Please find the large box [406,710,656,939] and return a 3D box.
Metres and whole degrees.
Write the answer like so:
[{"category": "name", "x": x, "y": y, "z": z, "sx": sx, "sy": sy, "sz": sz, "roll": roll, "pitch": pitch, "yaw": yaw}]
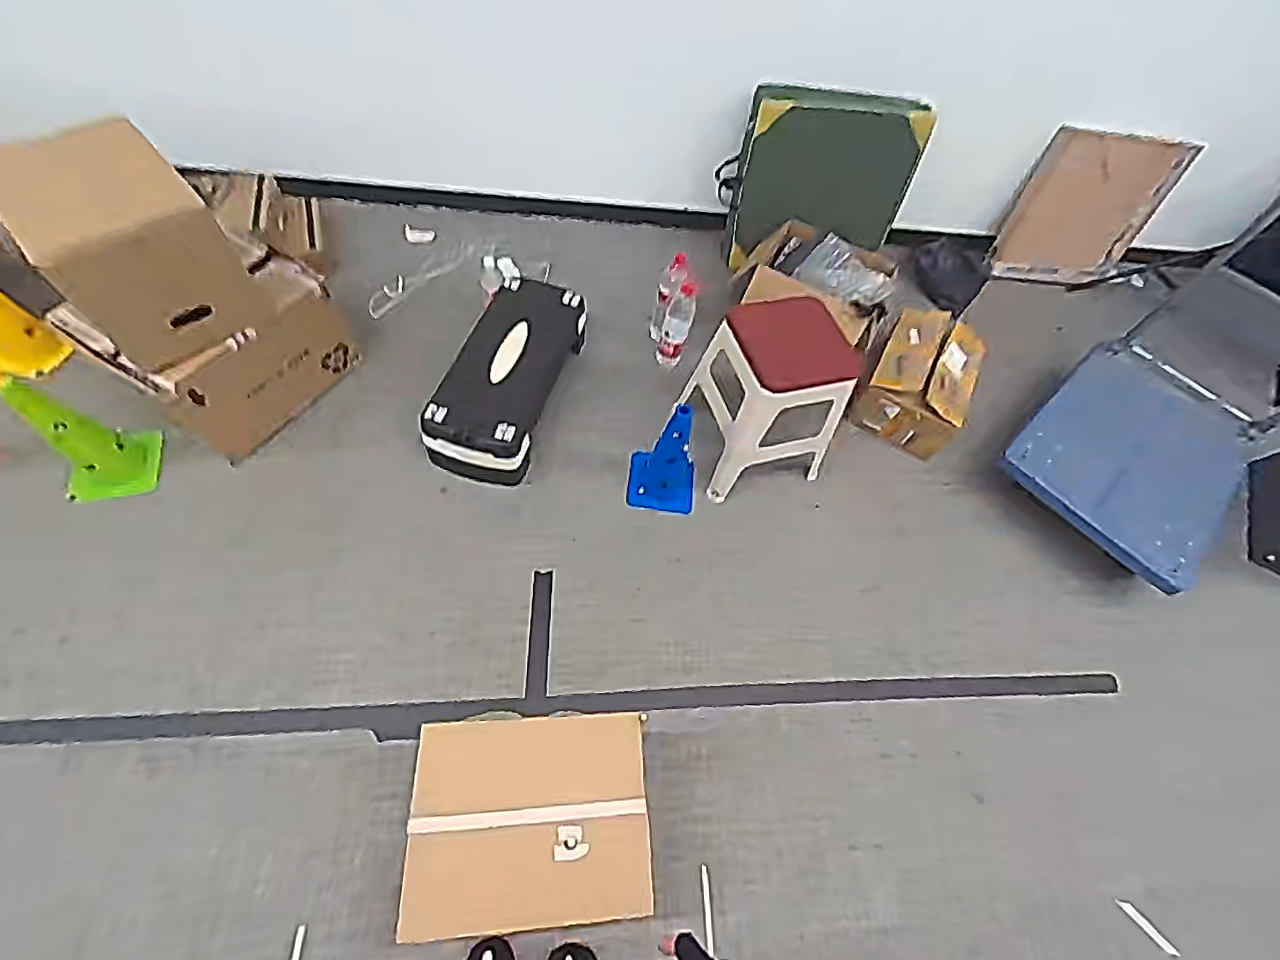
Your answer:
[{"category": "large box", "x": -0.203, "y": 0.654, "z": 1.065, "sx": 0.408, "sy": 0.320, "sz": 0.320, "roll": 1, "pitch": 59, "yaw": -9}]
